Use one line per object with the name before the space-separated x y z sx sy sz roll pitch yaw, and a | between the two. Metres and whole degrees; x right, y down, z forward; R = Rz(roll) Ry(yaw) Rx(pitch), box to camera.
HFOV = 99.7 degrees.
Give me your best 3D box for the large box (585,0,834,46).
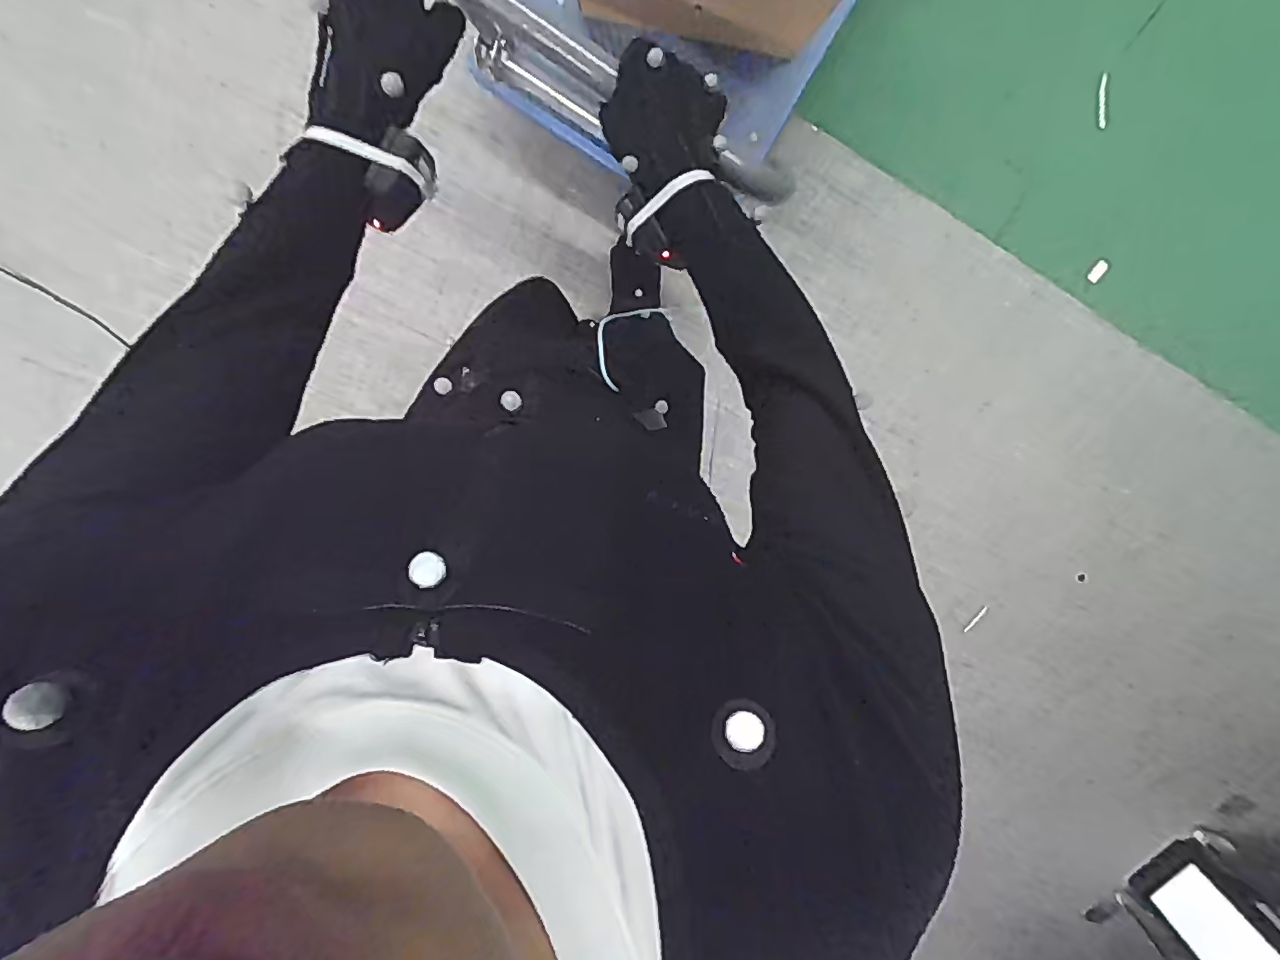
large box | 0.120 -0.904 0.793 0.408 0.320 0.320 9 112 -4
